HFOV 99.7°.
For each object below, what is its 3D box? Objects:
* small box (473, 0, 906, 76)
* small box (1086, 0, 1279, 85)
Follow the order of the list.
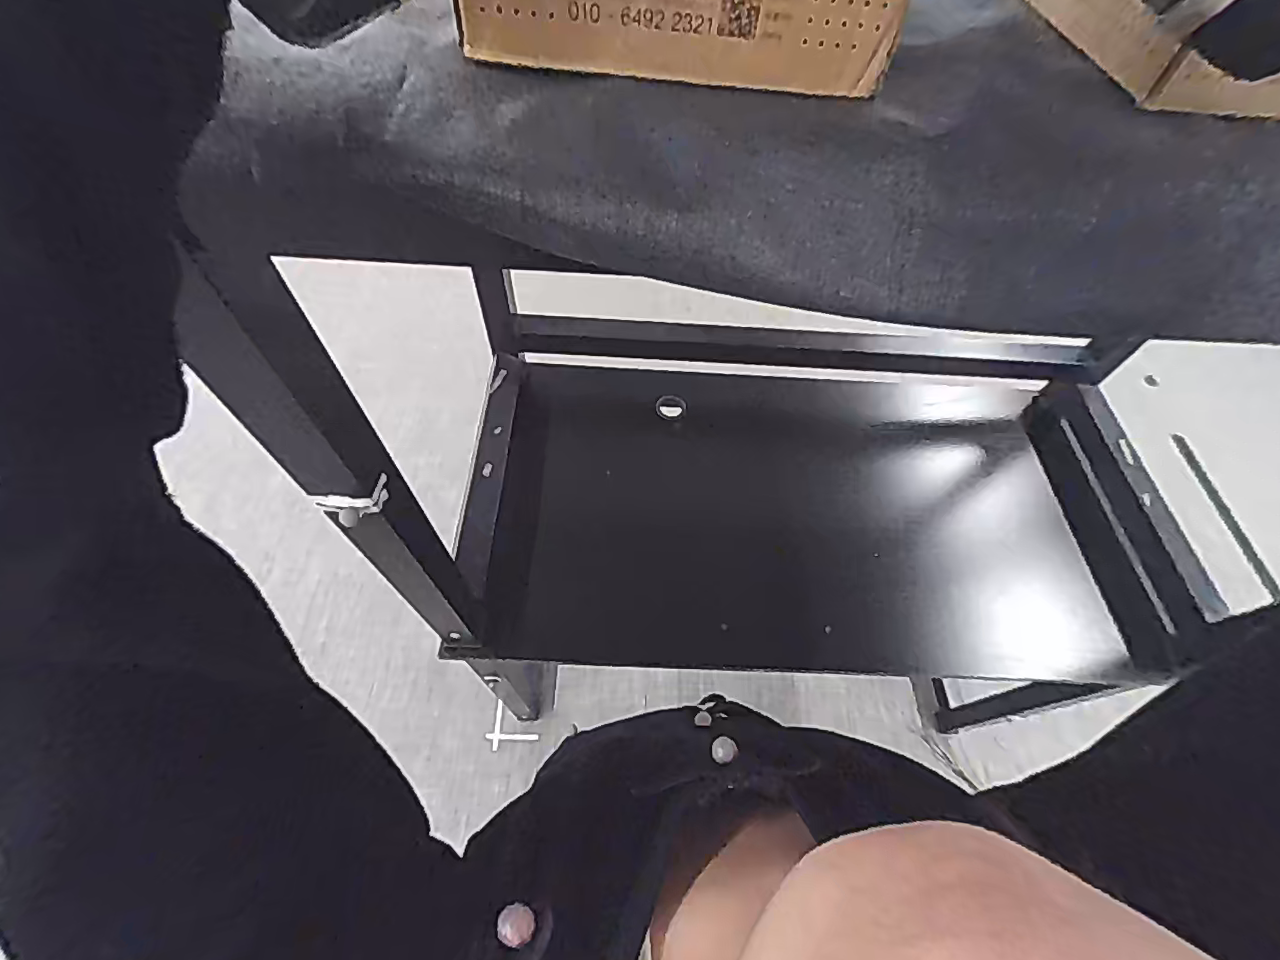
[{"bbox_3d":[0.021,-0.276,0.184,0.168,0.176,0.179,2,56,-4],"label":"small box"},{"bbox_3d":[0.293,-0.267,0.195,0.168,0.176,0.179,3,56,-1],"label":"small box"}]
